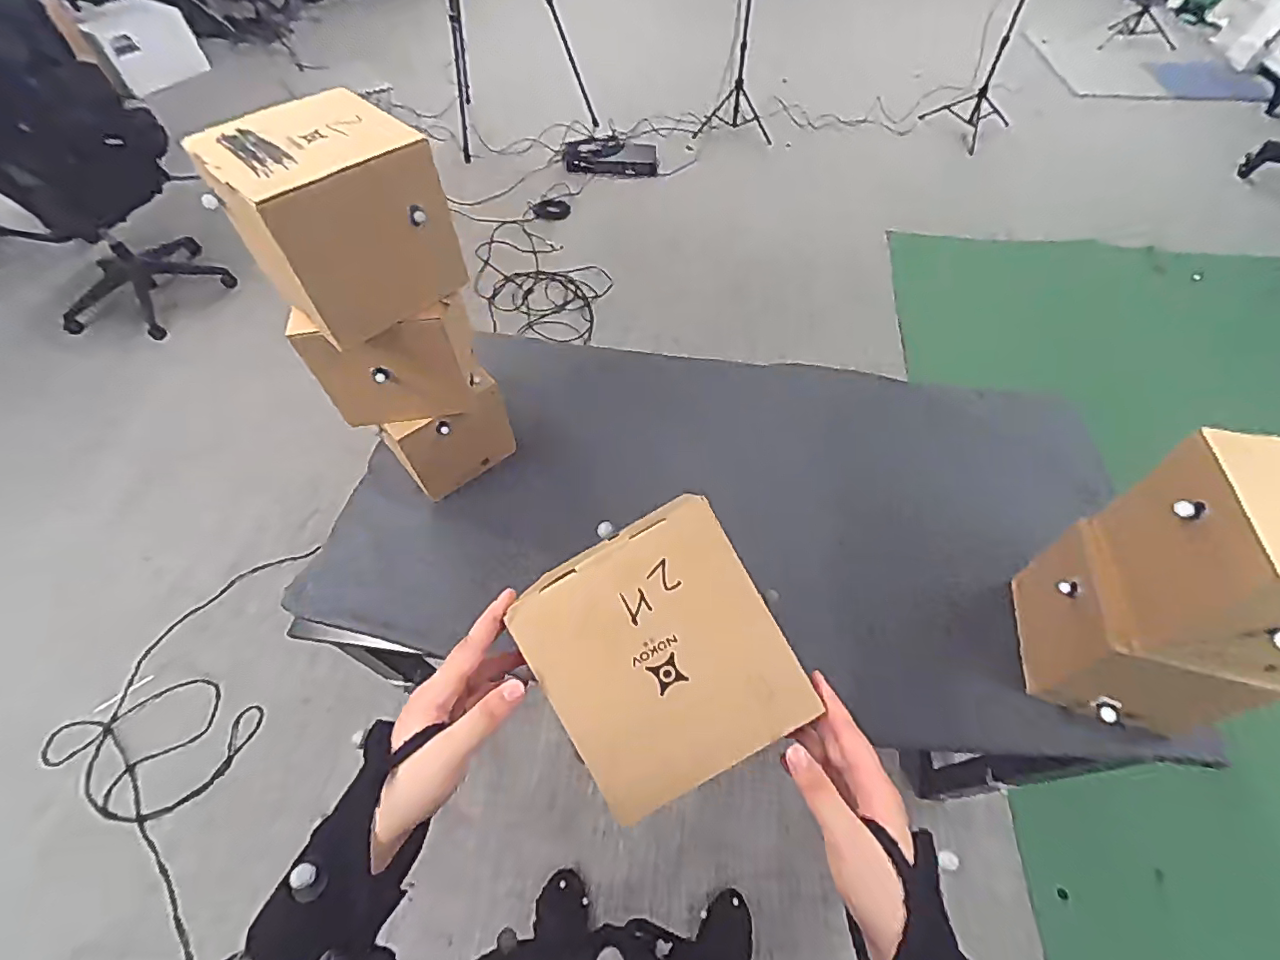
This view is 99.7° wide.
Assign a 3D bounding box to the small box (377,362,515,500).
[{"bbox_3d":[-0.327,-0.100,0.873,0.168,0.176,0.179,-37,62,-21],"label":"small box"}]

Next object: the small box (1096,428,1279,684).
[{"bbox_3d":[0.597,0.079,0.522,0.168,0.176,0.179,11,51,10],"label":"small box"}]

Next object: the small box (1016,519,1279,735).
[{"bbox_3d":[0.586,0.178,0.651,0.168,0.176,0.179,12,53,12],"label":"small box"}]

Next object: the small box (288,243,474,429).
[{"bbox_3d":[-0.331,-0.190,0.735,0.179,0.176,0.168,-9,56,-5],"label":"small box"}]
